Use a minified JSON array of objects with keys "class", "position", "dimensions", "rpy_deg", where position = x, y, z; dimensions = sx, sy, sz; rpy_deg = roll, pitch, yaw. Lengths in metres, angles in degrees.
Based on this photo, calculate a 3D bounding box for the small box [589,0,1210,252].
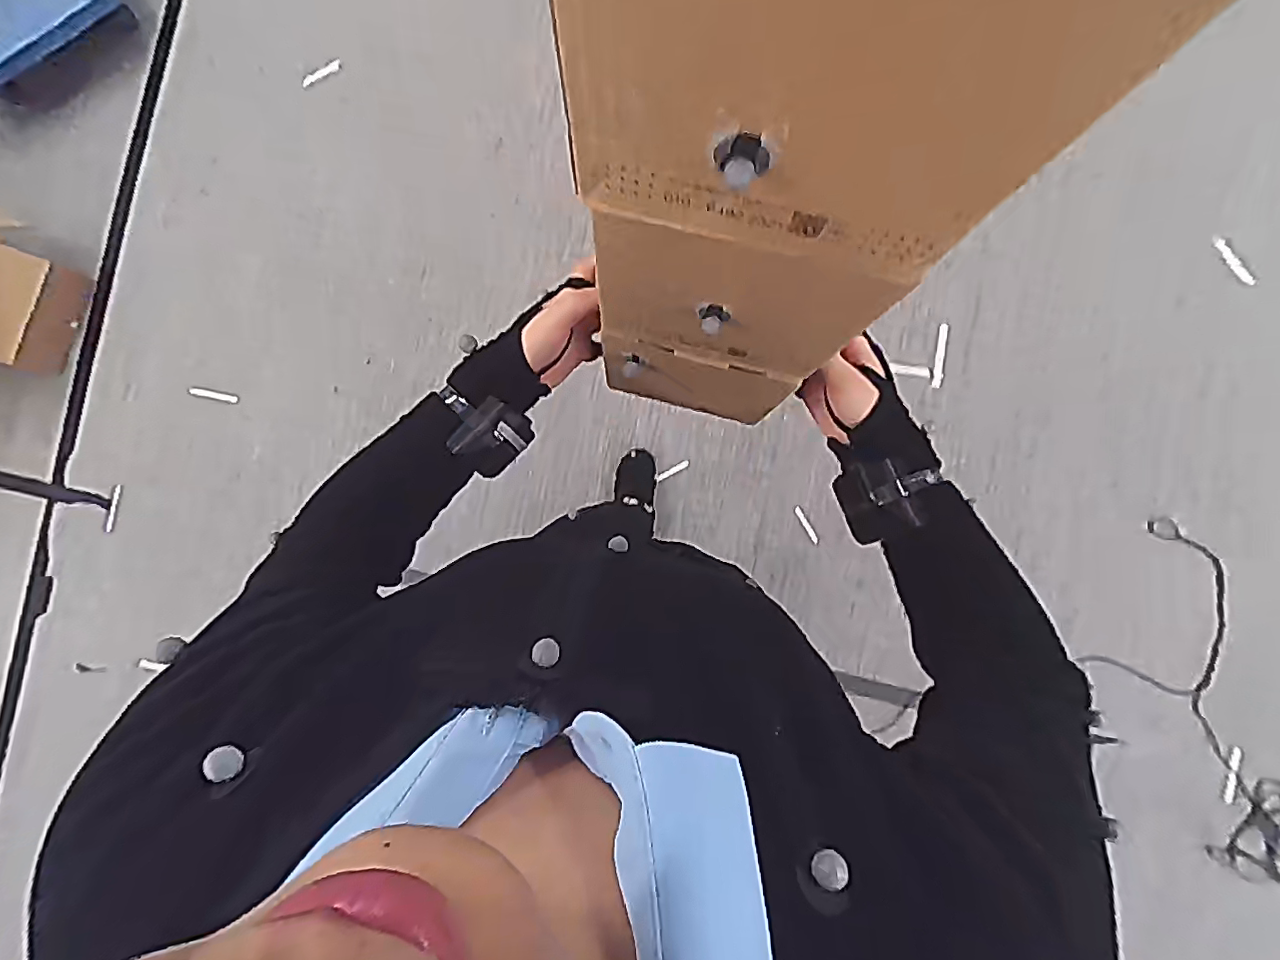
[{"class":"small box","position":[0.077,-0.213,0.179],"dimensions":[0.168,0.176,0.179],"rpy_deg":[13,84,0]}]

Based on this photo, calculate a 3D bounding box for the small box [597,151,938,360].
[{"class":"small box","position":[0.076,-0.195,0.341],"dimensions":[0.168,0.176,0.179],"rpy_deg":[13,83,-1]}]
